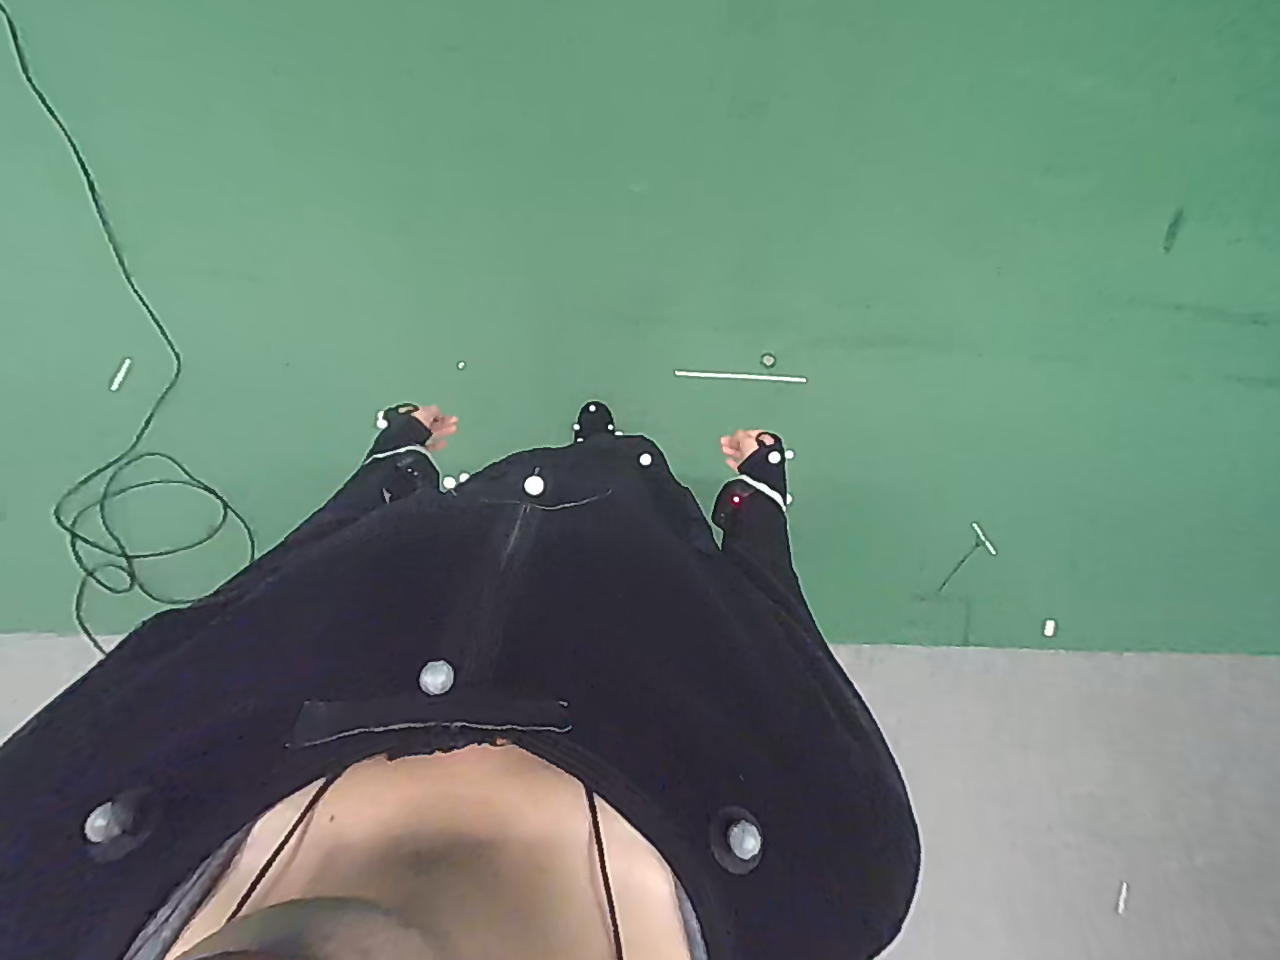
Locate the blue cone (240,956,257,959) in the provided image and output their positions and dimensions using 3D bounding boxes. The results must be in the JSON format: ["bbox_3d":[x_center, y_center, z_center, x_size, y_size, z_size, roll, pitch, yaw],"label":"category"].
[{"bbox_3d":[-1.111,1.505,1.397,0.193,0.380,0.192,-41,101,3],"label":"blue cone"}]
